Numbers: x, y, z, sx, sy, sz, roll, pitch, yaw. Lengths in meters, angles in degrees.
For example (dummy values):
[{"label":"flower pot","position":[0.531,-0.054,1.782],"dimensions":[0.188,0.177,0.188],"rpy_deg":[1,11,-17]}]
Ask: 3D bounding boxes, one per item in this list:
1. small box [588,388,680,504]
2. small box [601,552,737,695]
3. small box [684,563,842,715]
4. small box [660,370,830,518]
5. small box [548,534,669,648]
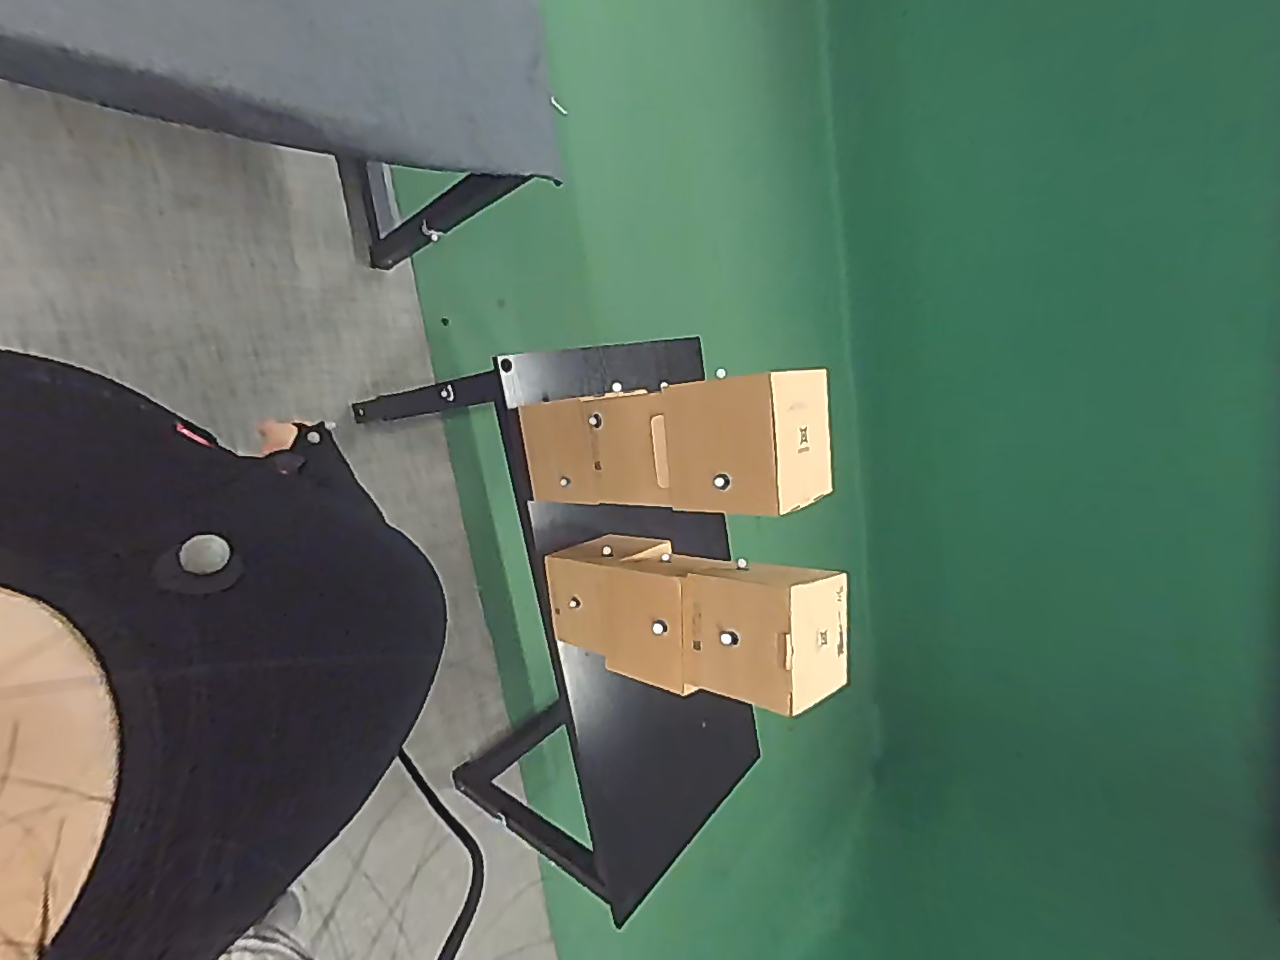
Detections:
[{"label":"small box","position":[0.031,-0.060,0.860],"dimensions":[0.179,0.176,0.168],"rpy_deg":[-15,103,-47]},{"label":"small box","position":[0.049,0.223,0.890],"dimensions":[0.168,0.176,0.179],"rpy_deg":[-2,92,-47]},{"label":"small box","position":[0.178,0.216,0.788],"dimensions":[0.179,0.176,0.168],"rpy_deg":[2,88,-46]},{"label":"small box","position":[0.145,-0.054,0.744],"dimensions":[0.168,0.176,0.179],"rpy_deg":[-15,102,-48]},{"label":"small box","position":[-0.058,0.202,1.012],"dimensions":[0.179,0.176,0.168],"rpy_deg":[-14,101,-46]}]
